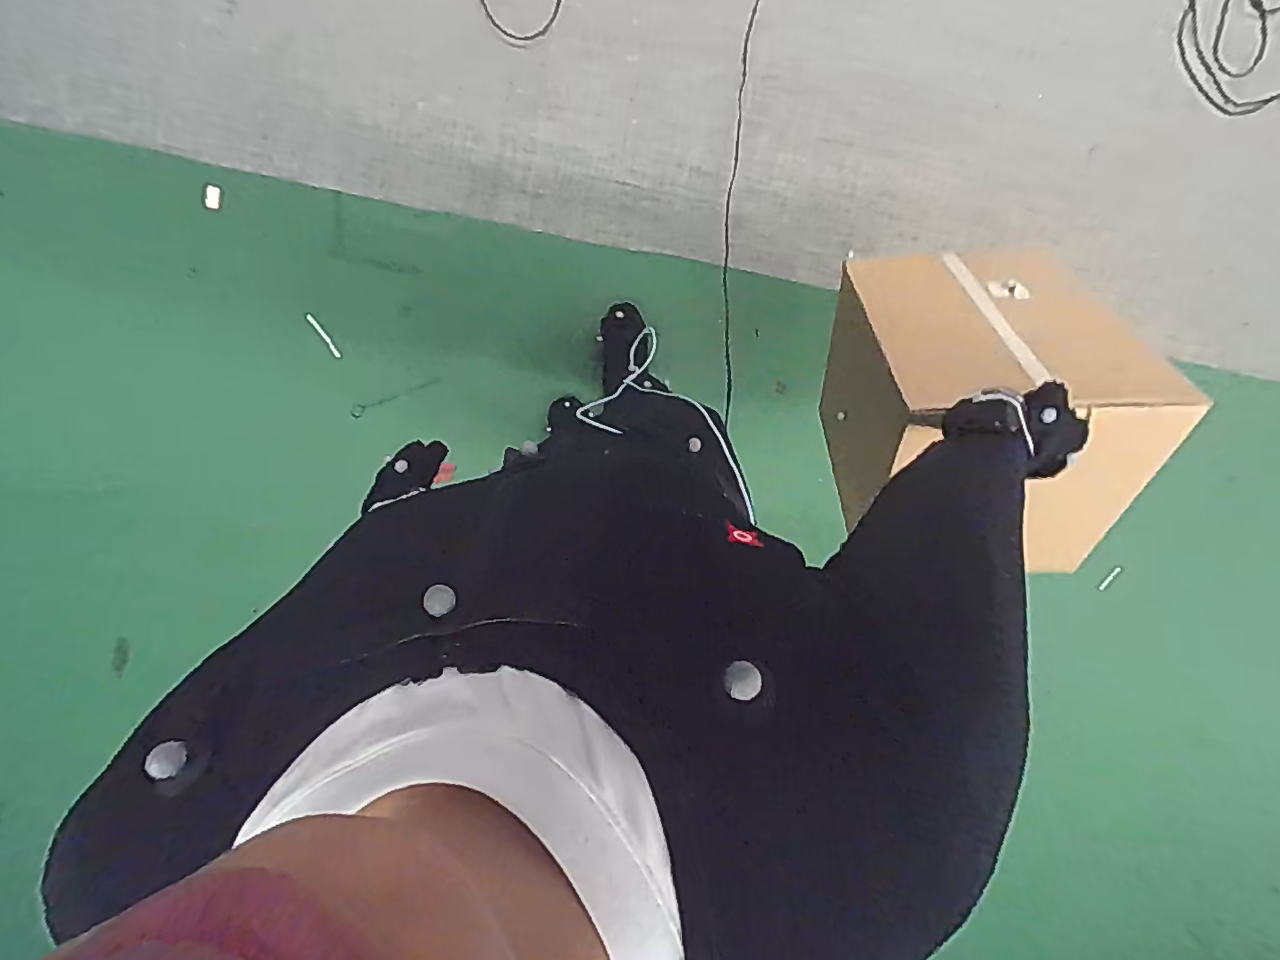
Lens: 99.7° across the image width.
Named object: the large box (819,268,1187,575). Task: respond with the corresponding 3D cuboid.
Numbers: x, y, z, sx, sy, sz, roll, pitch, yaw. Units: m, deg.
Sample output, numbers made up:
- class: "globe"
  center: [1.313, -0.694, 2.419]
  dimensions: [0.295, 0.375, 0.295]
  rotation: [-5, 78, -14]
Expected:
- class: "large box"
  center: [0.491, -0.097, 0.862]
  dimensions: [0.320, 0.408, 0.320]
  rotation: [1, 134, 6]
